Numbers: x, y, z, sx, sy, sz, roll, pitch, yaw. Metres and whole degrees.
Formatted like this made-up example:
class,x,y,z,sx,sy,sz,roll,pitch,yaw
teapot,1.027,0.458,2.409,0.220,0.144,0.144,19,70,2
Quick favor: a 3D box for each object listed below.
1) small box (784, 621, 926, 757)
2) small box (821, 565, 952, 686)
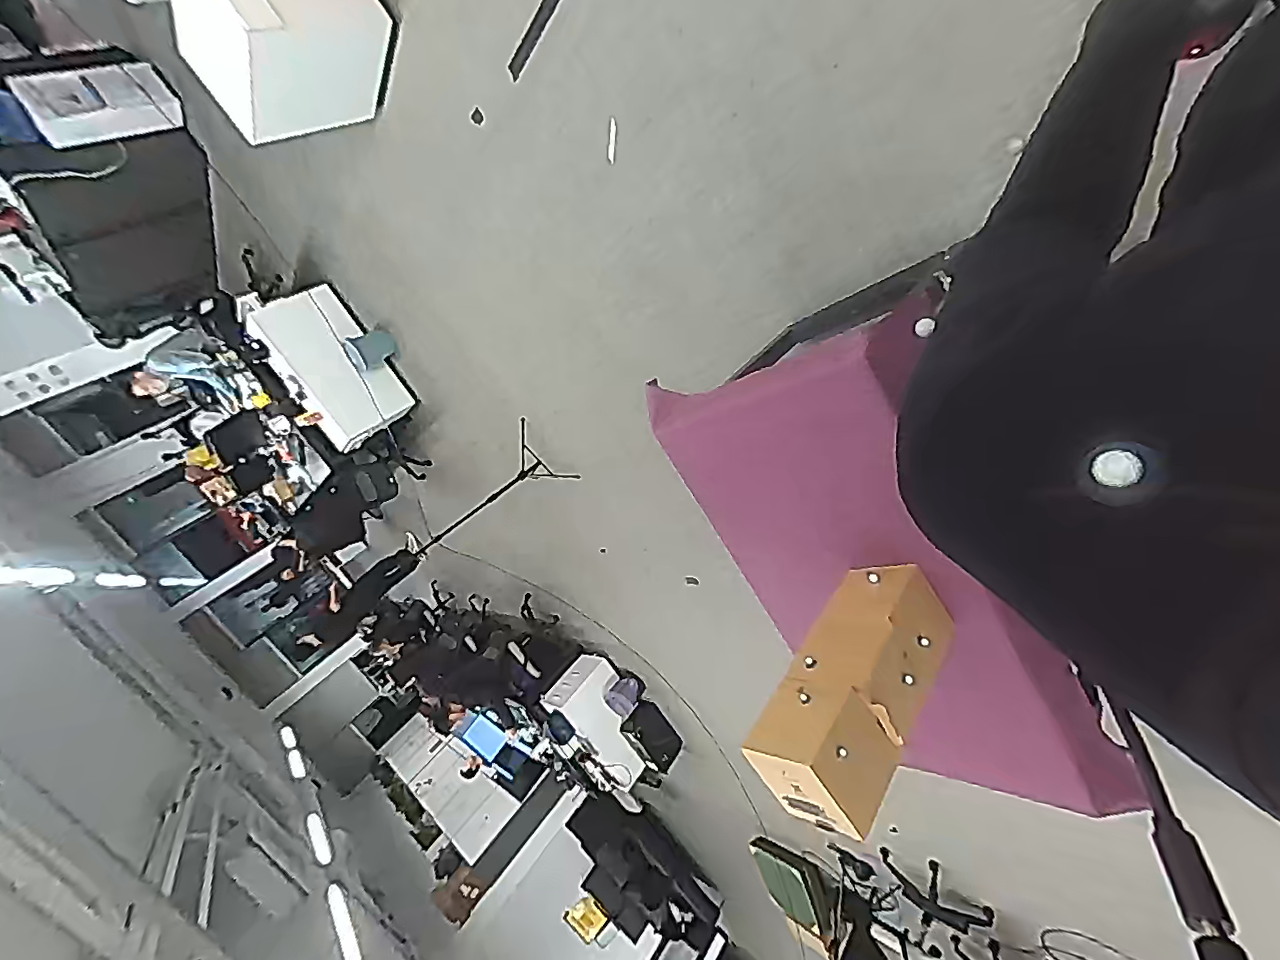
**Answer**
class,x,y,z,sx,sy,sz,roll,pitch,yaw
small box,0.424,0.398,1.063,0.179,0.176,0.168,-12,116,52
small box,0.528,0.304,1.150,0.179,0.176,0.168,55,146,-10
